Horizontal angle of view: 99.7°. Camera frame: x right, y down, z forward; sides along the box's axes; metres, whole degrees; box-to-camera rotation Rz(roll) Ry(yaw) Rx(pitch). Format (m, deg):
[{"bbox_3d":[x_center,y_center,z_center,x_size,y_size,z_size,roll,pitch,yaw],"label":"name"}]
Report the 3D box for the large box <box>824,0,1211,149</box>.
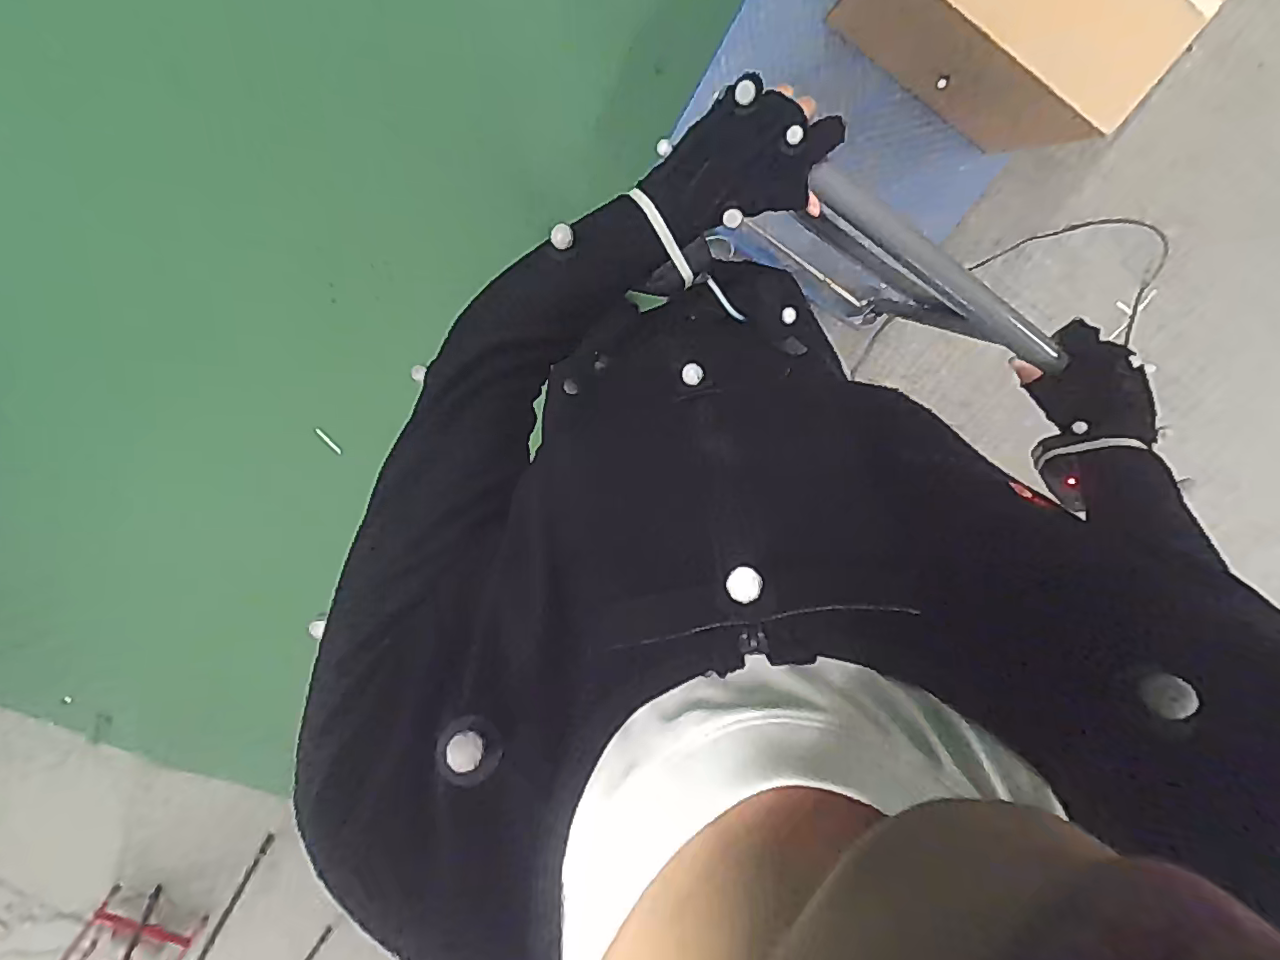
[{"bbox_3d":[0.557,-0.757,0.795,0.408,0.320,0.320,29,114,-11],"label":"large box"}]
